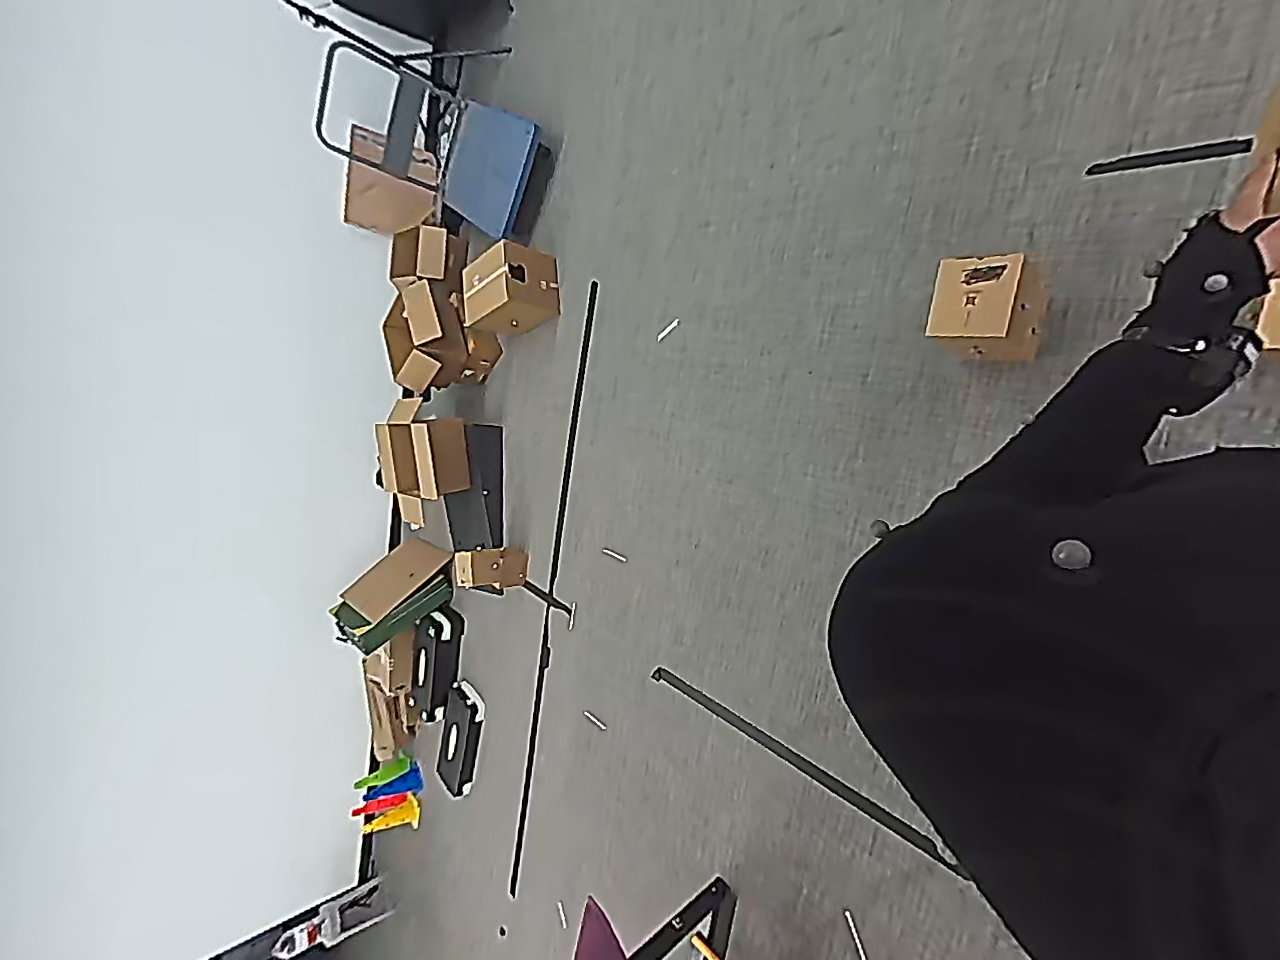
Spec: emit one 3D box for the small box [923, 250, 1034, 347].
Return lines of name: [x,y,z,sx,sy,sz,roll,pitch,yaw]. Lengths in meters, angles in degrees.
small box: [0.782,-0.410,1.243,0.168,0.176,0.179,16,102,44]

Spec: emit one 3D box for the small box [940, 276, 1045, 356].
small box: [0.893,-0.409,1.364,0.179,0.176,0.168,16,101,44]

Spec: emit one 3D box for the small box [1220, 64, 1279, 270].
small box: [0.650,-0.289,0.469,0.168,0.176,0.179,12,101,37]
